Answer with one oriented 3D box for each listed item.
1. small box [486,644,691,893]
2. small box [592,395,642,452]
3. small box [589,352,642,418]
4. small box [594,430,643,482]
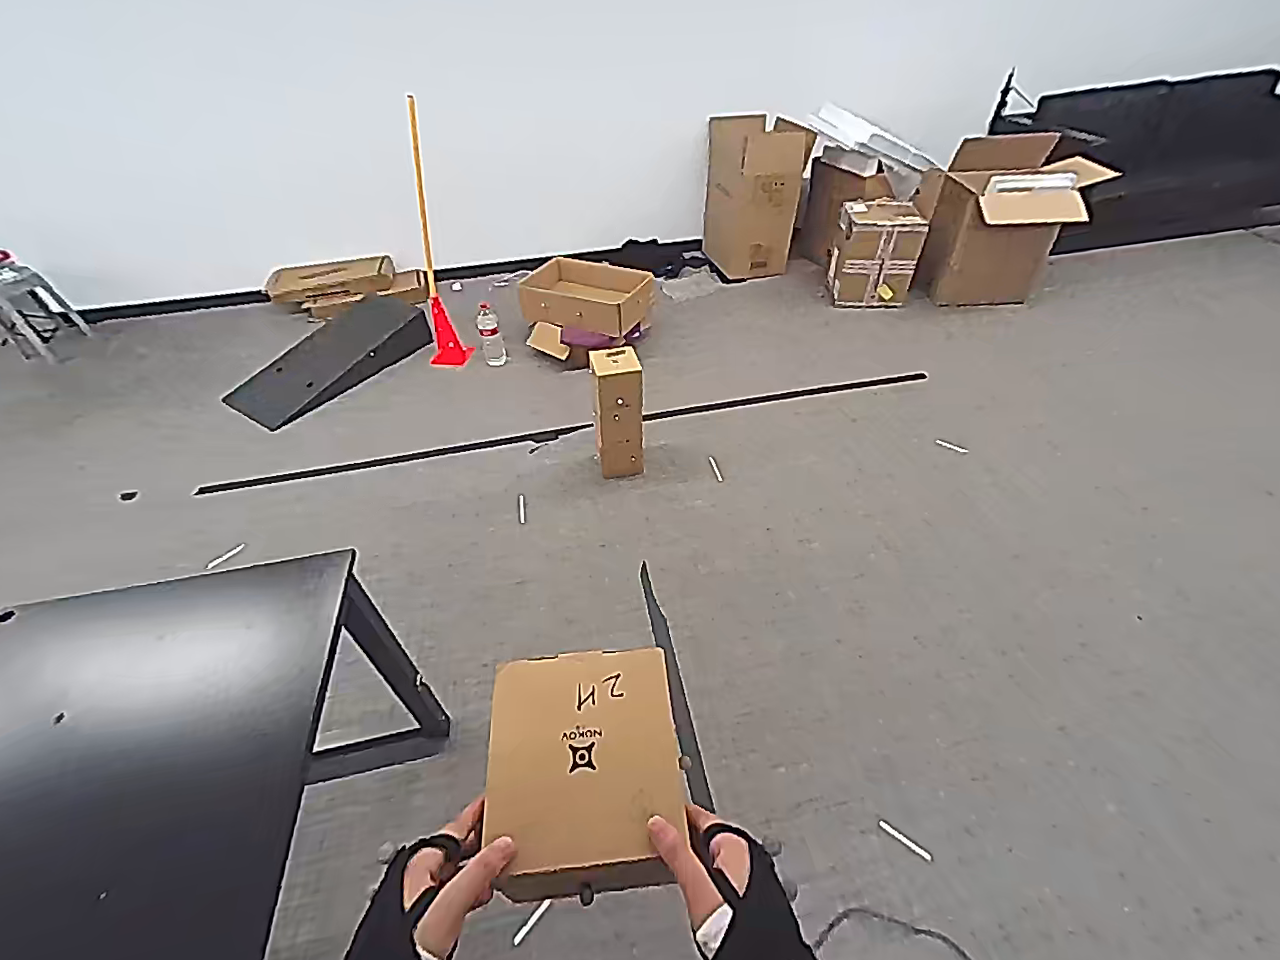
[{"bbox_3d":[-0.046,0.287,0.534,0.168,0.176,0.179,-5,46,-4],"label":"small box"},{"bbox_3d":[-0.091,-0.233,2.129,0.168,0.176,0.179,-11,42,-9],"label":"small box"},{"bbox_3d":[-0.092,-0.355,2.018,0.168,0.176,0.179,-11,44,-9],"label":"small box"},{"bbox_3d":[-0.086,-0.112,2.240,0.179,0.176,0.168,-11,42,-7],"label":"small box"}]
